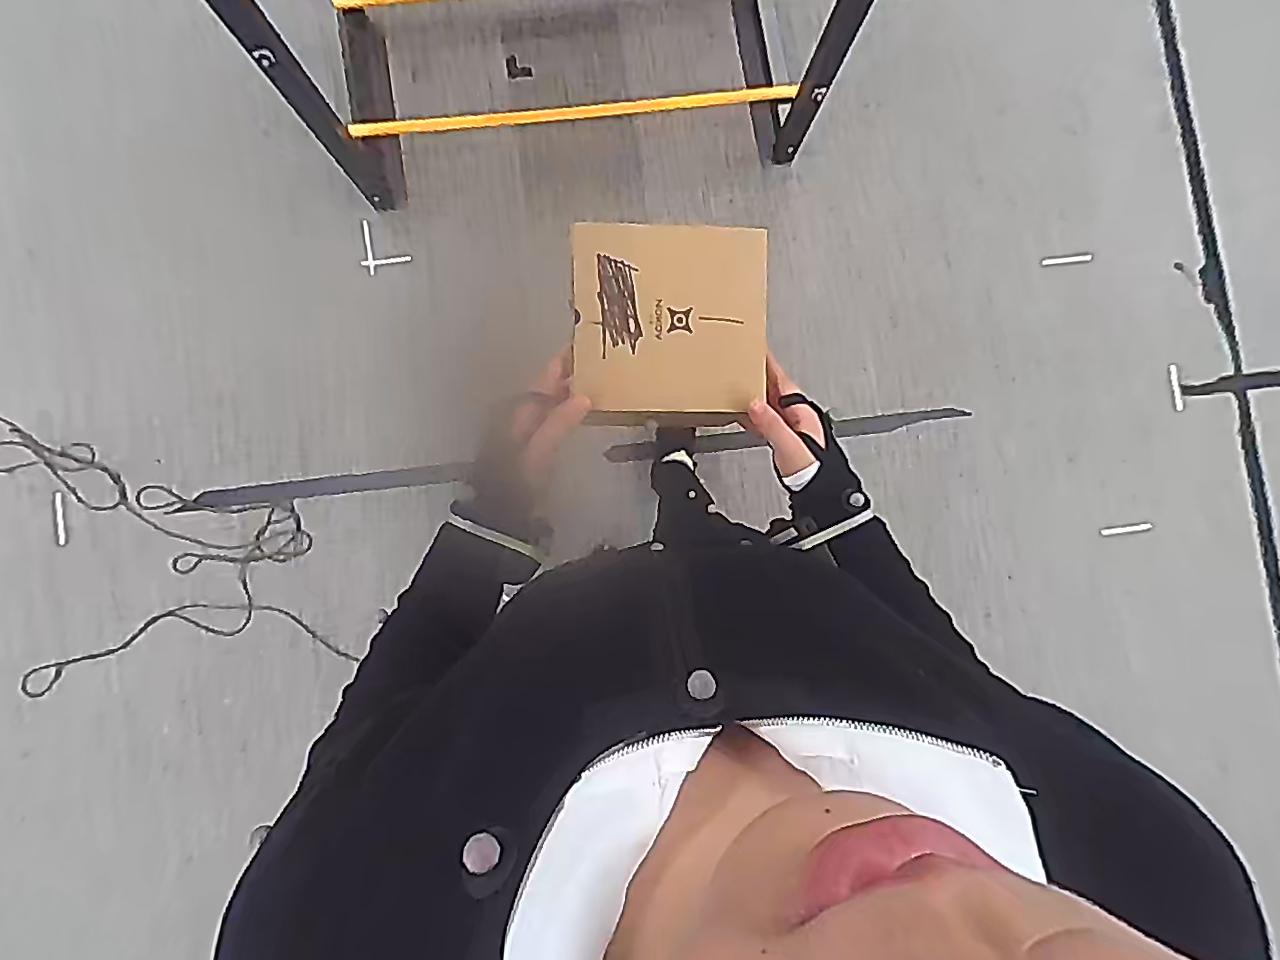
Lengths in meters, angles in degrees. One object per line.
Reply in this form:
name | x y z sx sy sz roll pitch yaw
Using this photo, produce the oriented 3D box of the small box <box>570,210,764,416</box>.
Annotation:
small box | 0.020 -0.156 0.562 0.179 0.176 0.168 0 91 -5
